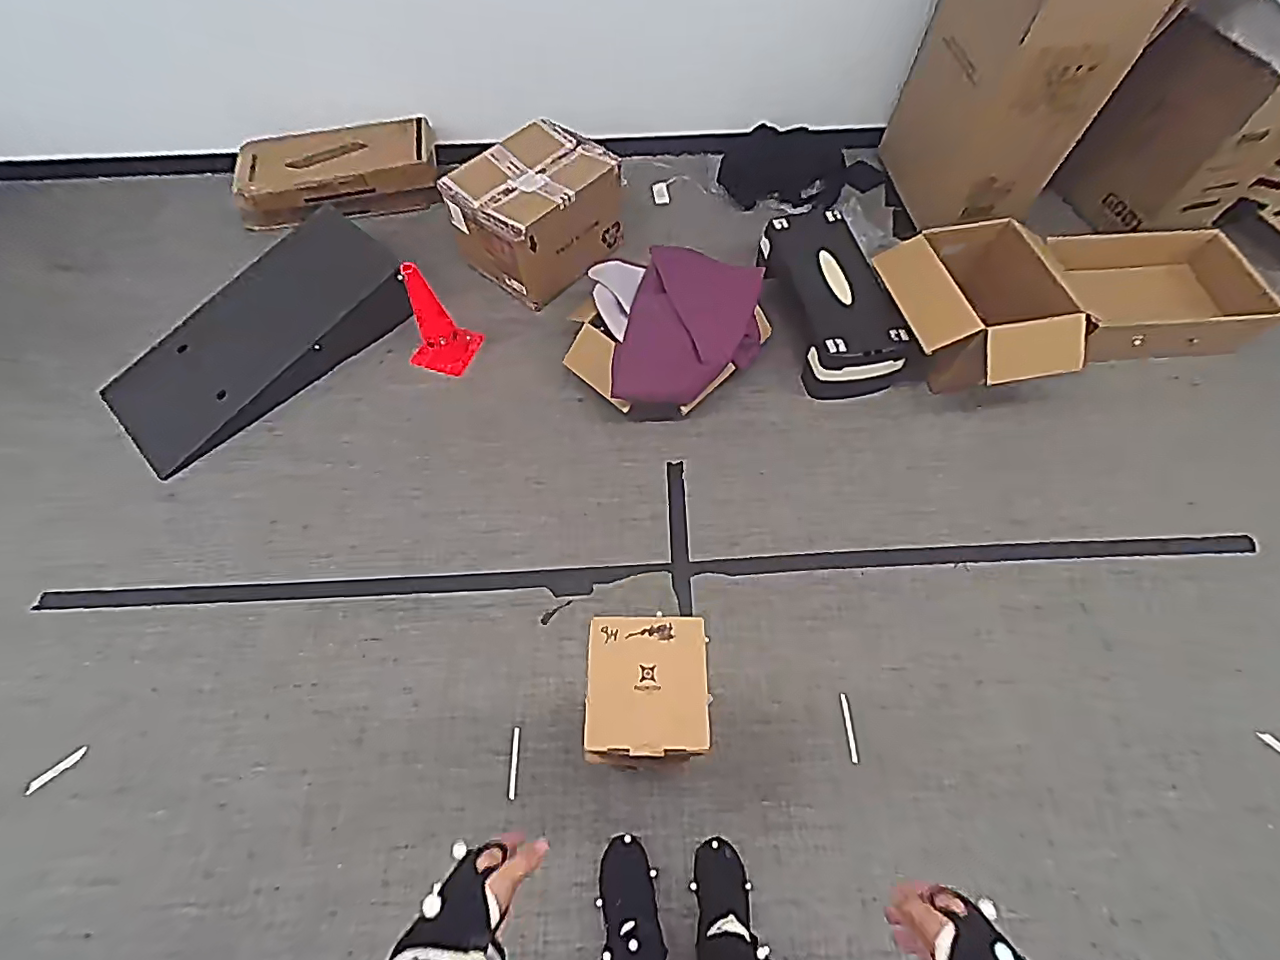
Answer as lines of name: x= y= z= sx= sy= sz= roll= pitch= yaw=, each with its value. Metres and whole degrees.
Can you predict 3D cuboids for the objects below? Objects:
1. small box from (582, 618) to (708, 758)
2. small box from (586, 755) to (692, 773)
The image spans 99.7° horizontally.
small box: x=0.012 y=0.311 z=0.798 sx=0.168 sy=0.176 sz=0.179 roll=0 pitch=62 yaw=2
small box: x=0.005 y=0.402 z=0.936 sx=0.168 sy=0.176 sz=0.179 roll=3 pitch=63 yaw=3
